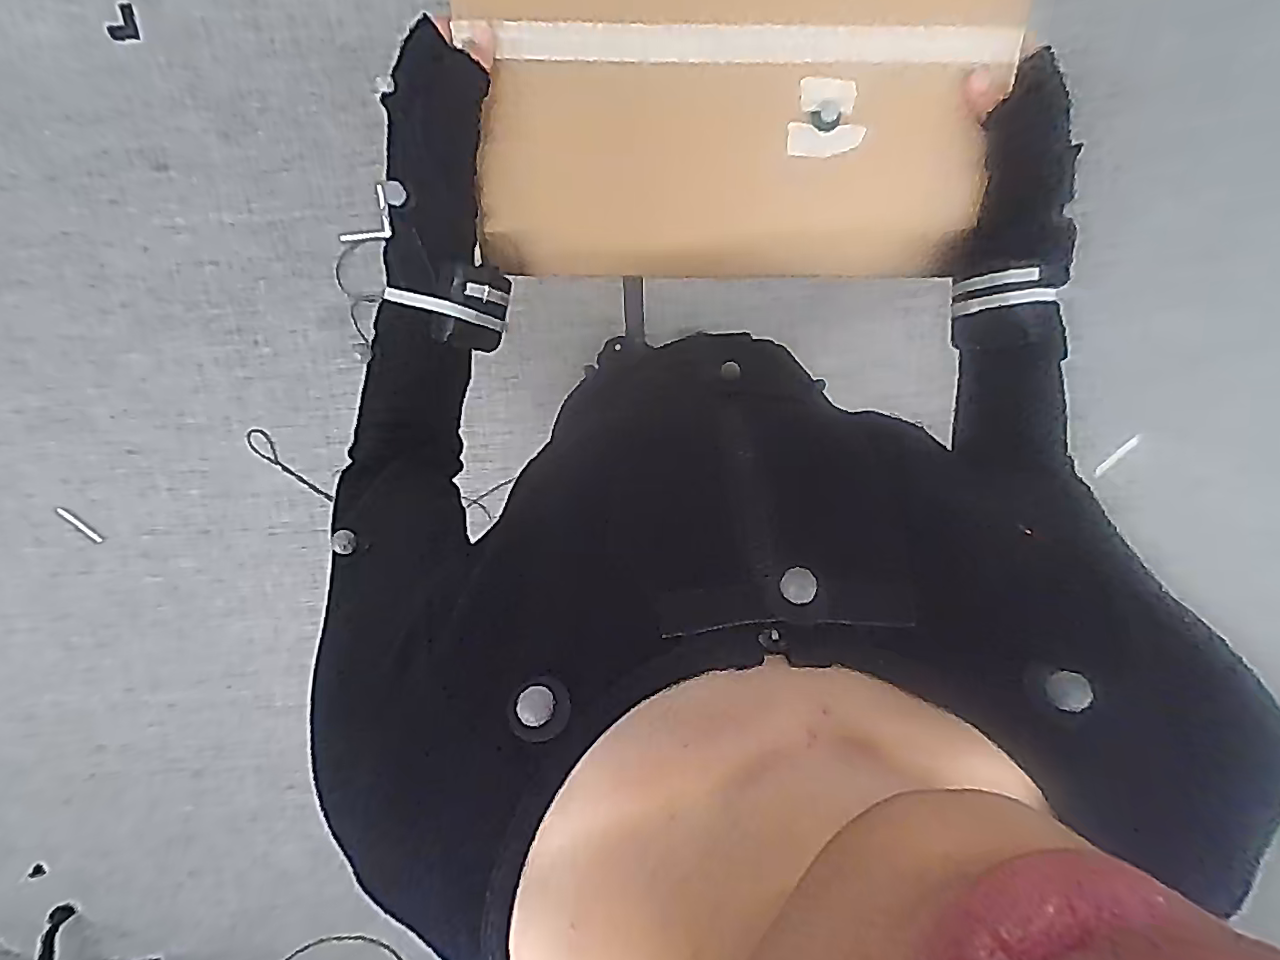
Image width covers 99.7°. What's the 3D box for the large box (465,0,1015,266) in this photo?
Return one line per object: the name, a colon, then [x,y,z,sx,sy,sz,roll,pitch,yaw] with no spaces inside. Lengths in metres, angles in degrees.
large box: [0.066,-0.389,0.530,0.408,0.320,0.320,-1,116,-2]
